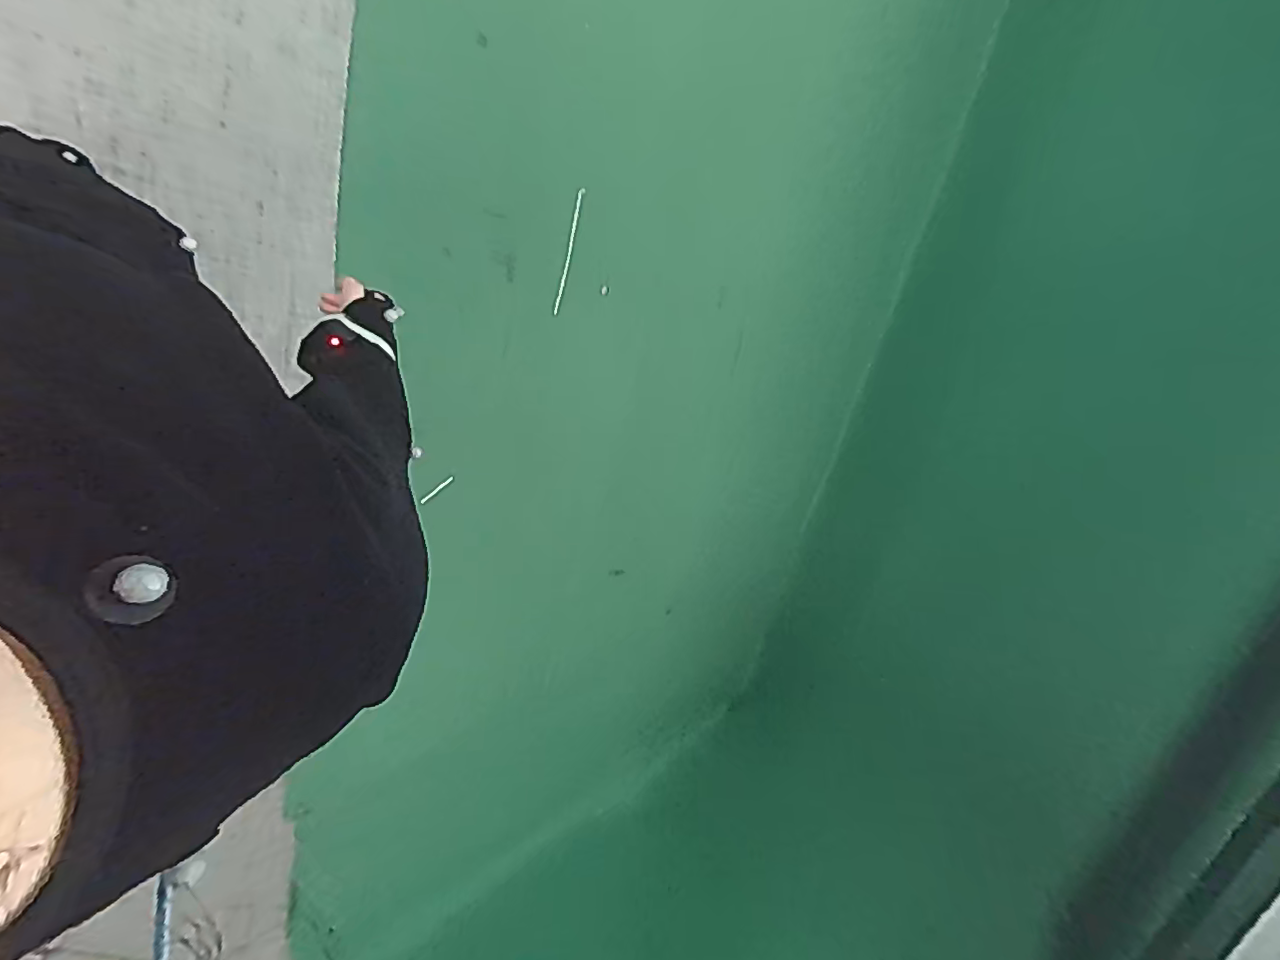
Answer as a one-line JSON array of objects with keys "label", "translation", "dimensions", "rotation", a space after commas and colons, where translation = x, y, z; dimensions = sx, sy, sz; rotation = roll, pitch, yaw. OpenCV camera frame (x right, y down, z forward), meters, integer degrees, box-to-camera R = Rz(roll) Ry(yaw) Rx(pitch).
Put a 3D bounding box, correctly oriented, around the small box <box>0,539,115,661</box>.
[{"label": "small box", "translation": [-1.200, 0.232, 1.110], "dimensions": [0.168, 0.176, 0.179], "rotation": [-3, 116, -45]}]
